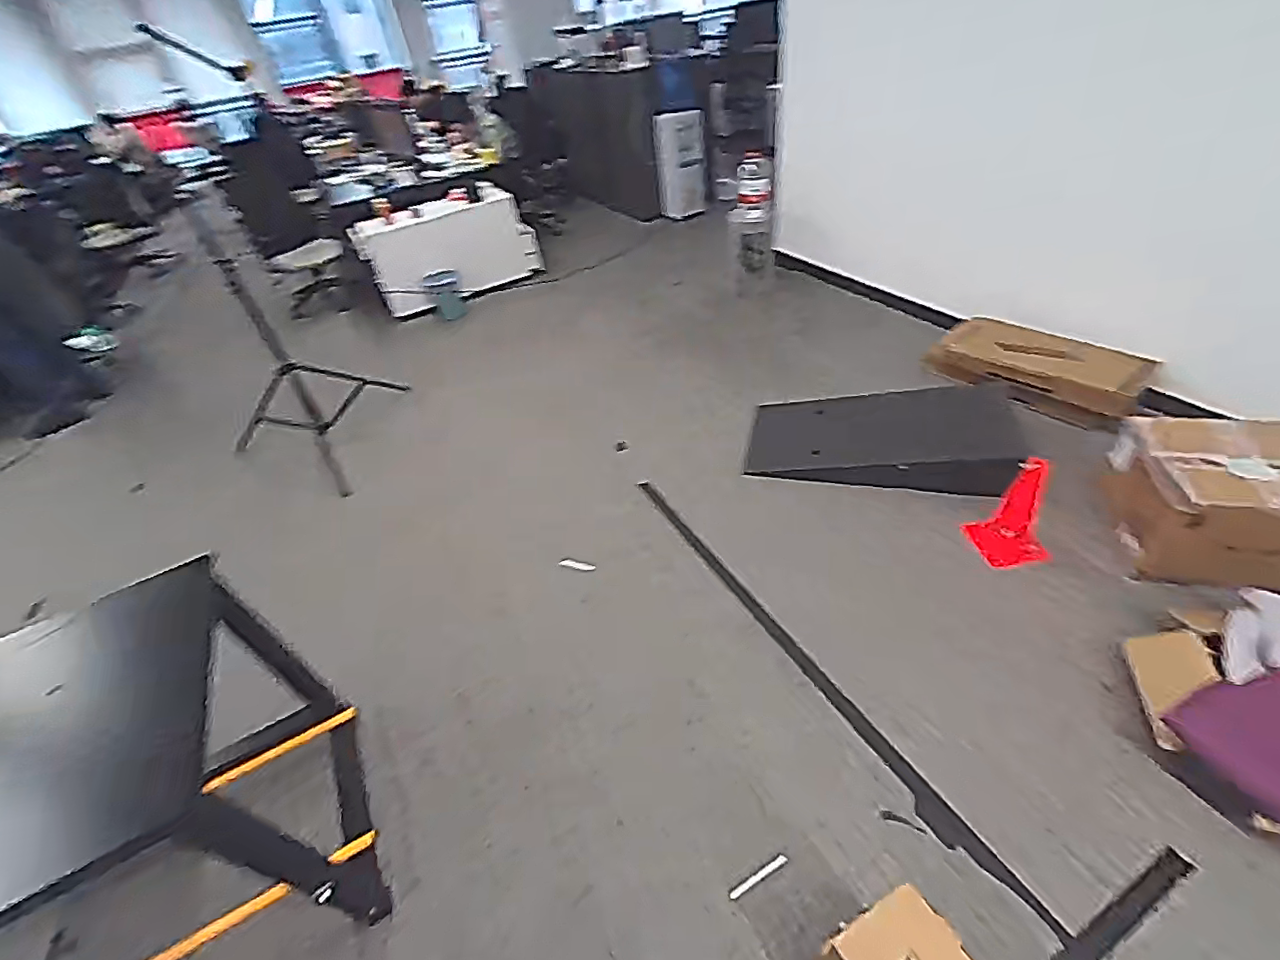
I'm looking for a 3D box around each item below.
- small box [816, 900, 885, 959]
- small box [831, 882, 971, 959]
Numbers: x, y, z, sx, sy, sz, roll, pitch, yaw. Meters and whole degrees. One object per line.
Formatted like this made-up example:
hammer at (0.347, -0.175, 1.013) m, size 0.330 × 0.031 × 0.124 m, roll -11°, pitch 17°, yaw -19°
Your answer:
small box at (0.458, 0.954, 1.027) m, size 0.168 × 0.176 × 0.179 m, roll -24°, pitch 43°, yaw -15°
small box at (0.444, 0.836, 0.916) m, size 0.179 × 0.176 × 0.168 m, roll -26°, pitch 42°, yaw -15°
